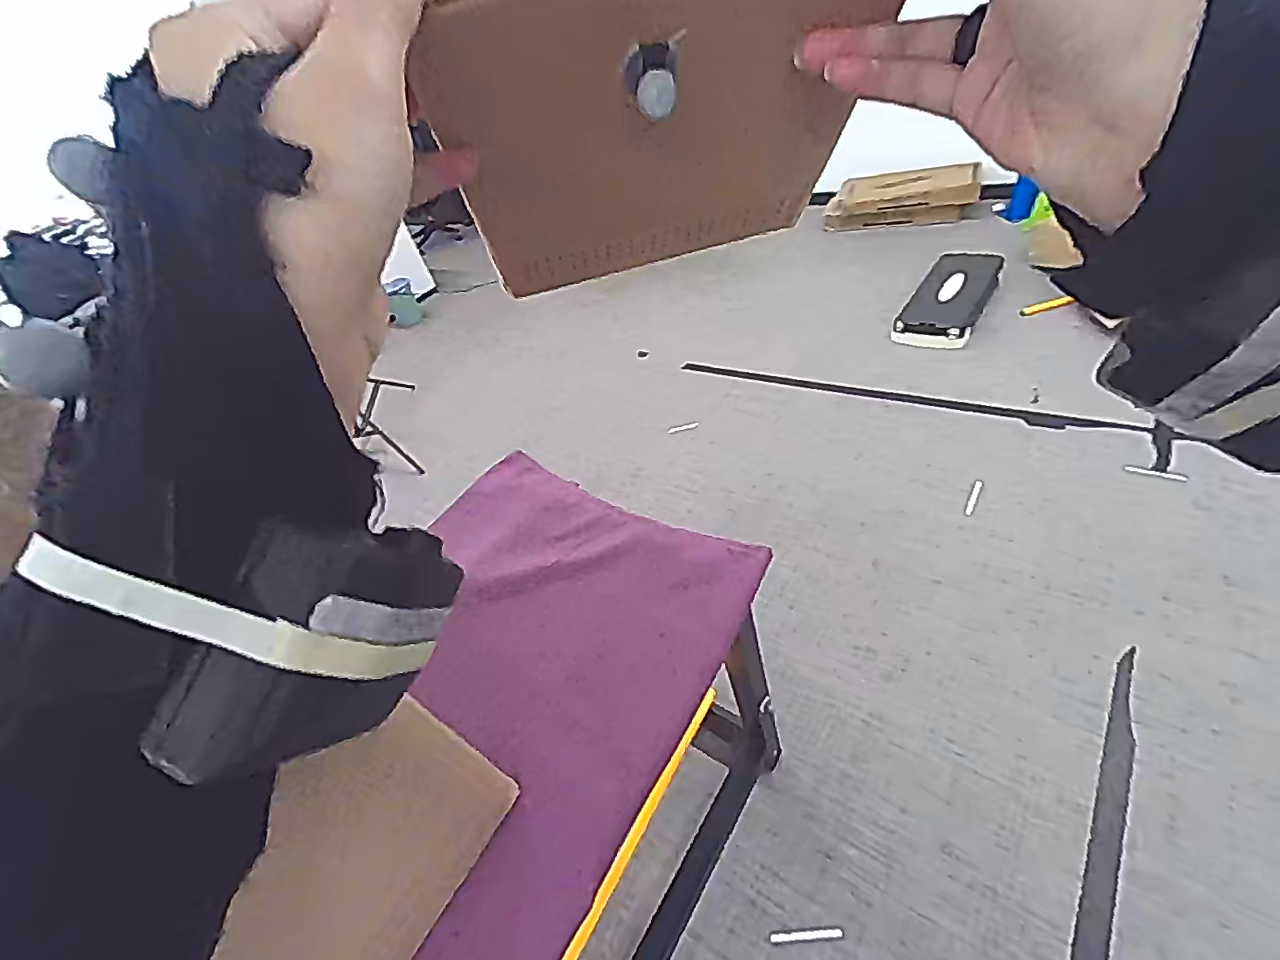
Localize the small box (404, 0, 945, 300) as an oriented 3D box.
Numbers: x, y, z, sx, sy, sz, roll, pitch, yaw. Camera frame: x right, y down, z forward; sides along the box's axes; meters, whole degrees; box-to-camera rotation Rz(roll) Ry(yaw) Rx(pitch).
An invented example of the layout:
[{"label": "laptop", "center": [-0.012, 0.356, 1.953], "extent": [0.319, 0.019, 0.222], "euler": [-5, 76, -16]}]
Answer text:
[{"label": "small box", "center": [-0.001, -0.209, 0.247], "extent": [0.179, 0.176, 0.168], "euler": [-15, 82, -2]}]
